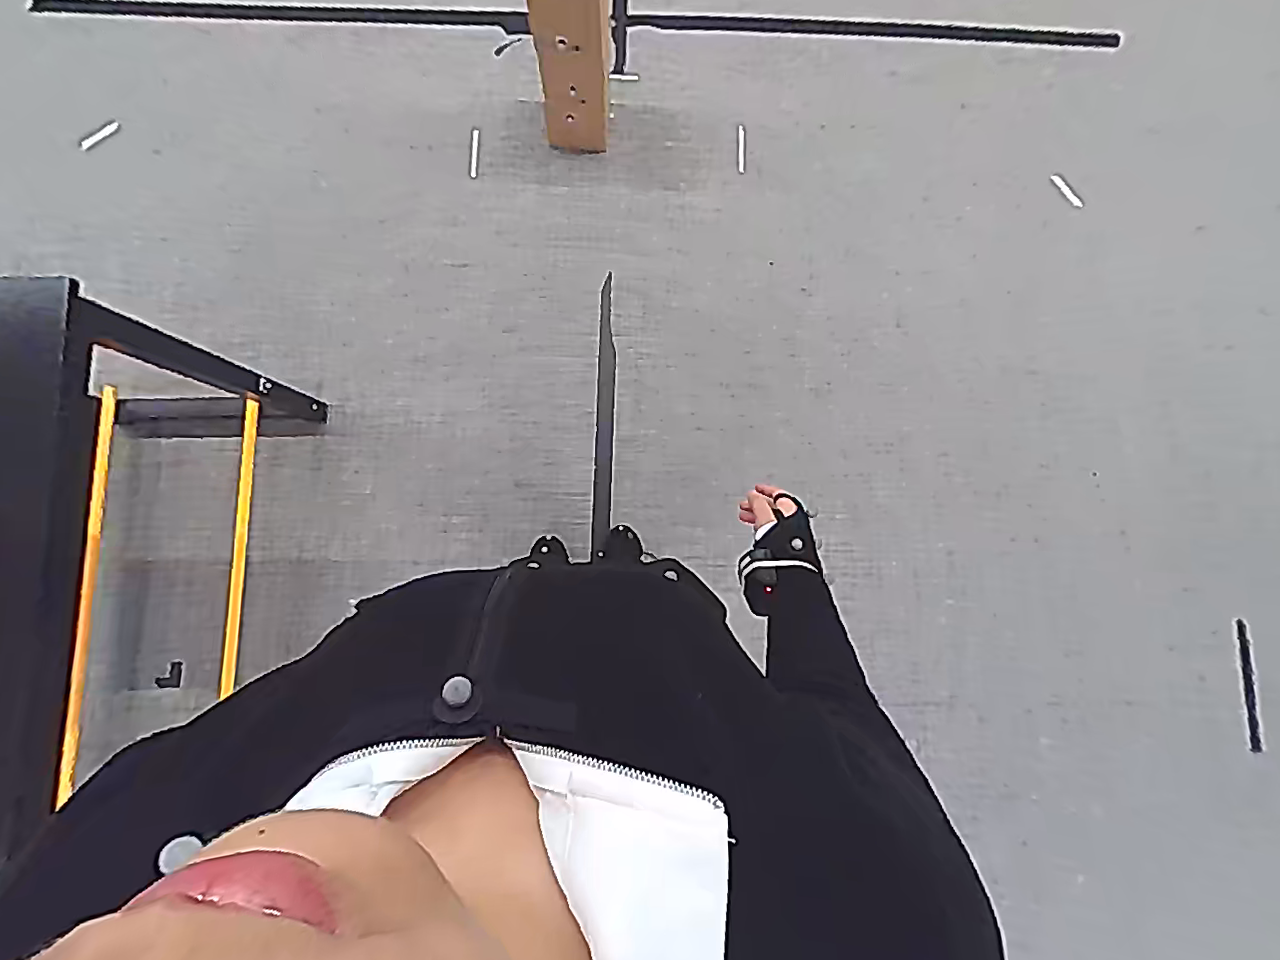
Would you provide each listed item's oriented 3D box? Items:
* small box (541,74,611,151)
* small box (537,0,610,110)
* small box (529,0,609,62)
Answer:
[{"bbox_3d":[-0.178,-1.077,1.547,0.179,0.176,0.168,5,84,-2],"label":"small box"},{"bbox_3d":[-0.164,-1.098,1.384,0.168,0.176,0.179,4,84,-2],"label":"small box"},{"bbox_3d":[-0.158,-1.101,1.221,0.168,0.176,0.179,4,85,-1],"label":"small box"}]
